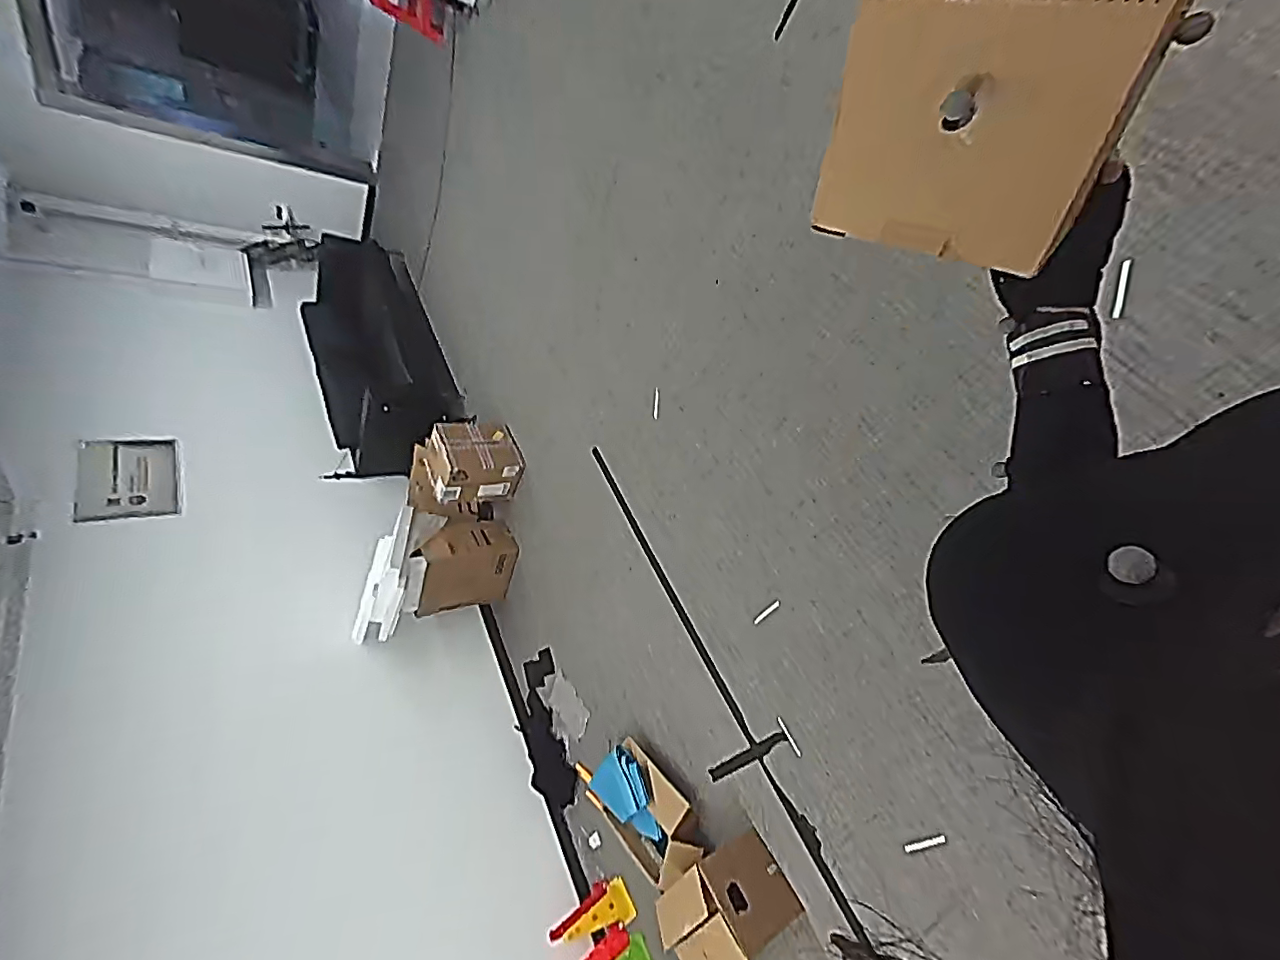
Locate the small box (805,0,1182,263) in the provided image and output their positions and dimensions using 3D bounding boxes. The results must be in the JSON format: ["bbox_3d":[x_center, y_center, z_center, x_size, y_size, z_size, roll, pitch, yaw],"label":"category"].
[{"bbox_3d":[0.241,-0.275,0.375,0.168,0.179,0.176,30,140,28],"label":"small box"}]
